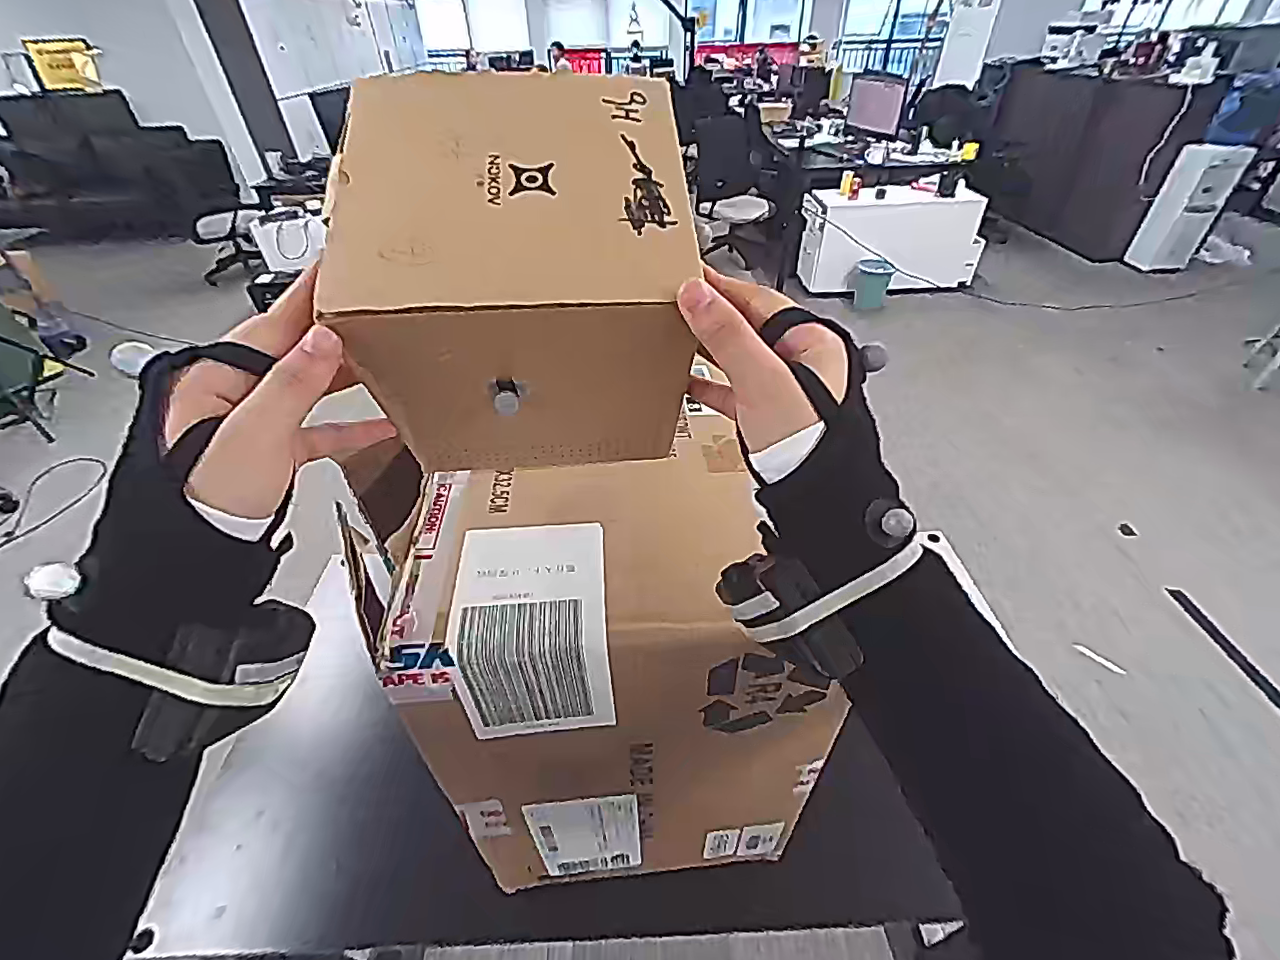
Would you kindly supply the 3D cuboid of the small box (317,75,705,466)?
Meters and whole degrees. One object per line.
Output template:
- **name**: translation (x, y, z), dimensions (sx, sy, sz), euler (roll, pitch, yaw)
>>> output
- **small box**: translation (-0.065, -0.117, 0.345), dimensions (0.179, 0.176, 0.168), euler (-4, 67, -5)
